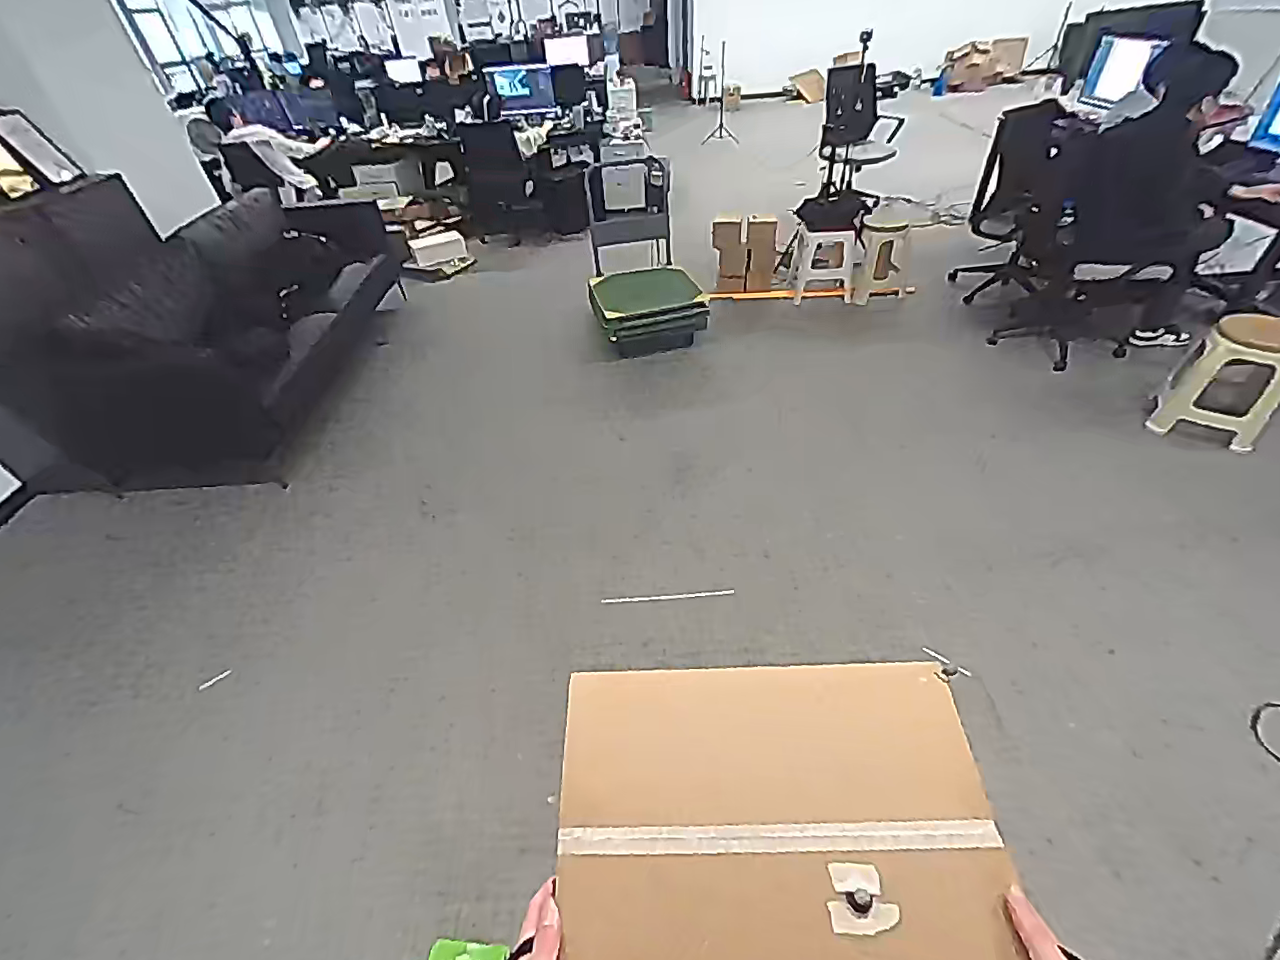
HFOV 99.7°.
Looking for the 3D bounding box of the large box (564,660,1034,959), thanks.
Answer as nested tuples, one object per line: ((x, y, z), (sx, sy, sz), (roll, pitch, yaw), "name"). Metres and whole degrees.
((0.137, 0.423, 0.633), (0.408, 0.320, 0.320), (-3, 54, 3), "large box")

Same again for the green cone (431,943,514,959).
((-0.405, 1.033, 1.070), (0.200, 0.368, 0.202), (0, 44, 6), "green cone")
